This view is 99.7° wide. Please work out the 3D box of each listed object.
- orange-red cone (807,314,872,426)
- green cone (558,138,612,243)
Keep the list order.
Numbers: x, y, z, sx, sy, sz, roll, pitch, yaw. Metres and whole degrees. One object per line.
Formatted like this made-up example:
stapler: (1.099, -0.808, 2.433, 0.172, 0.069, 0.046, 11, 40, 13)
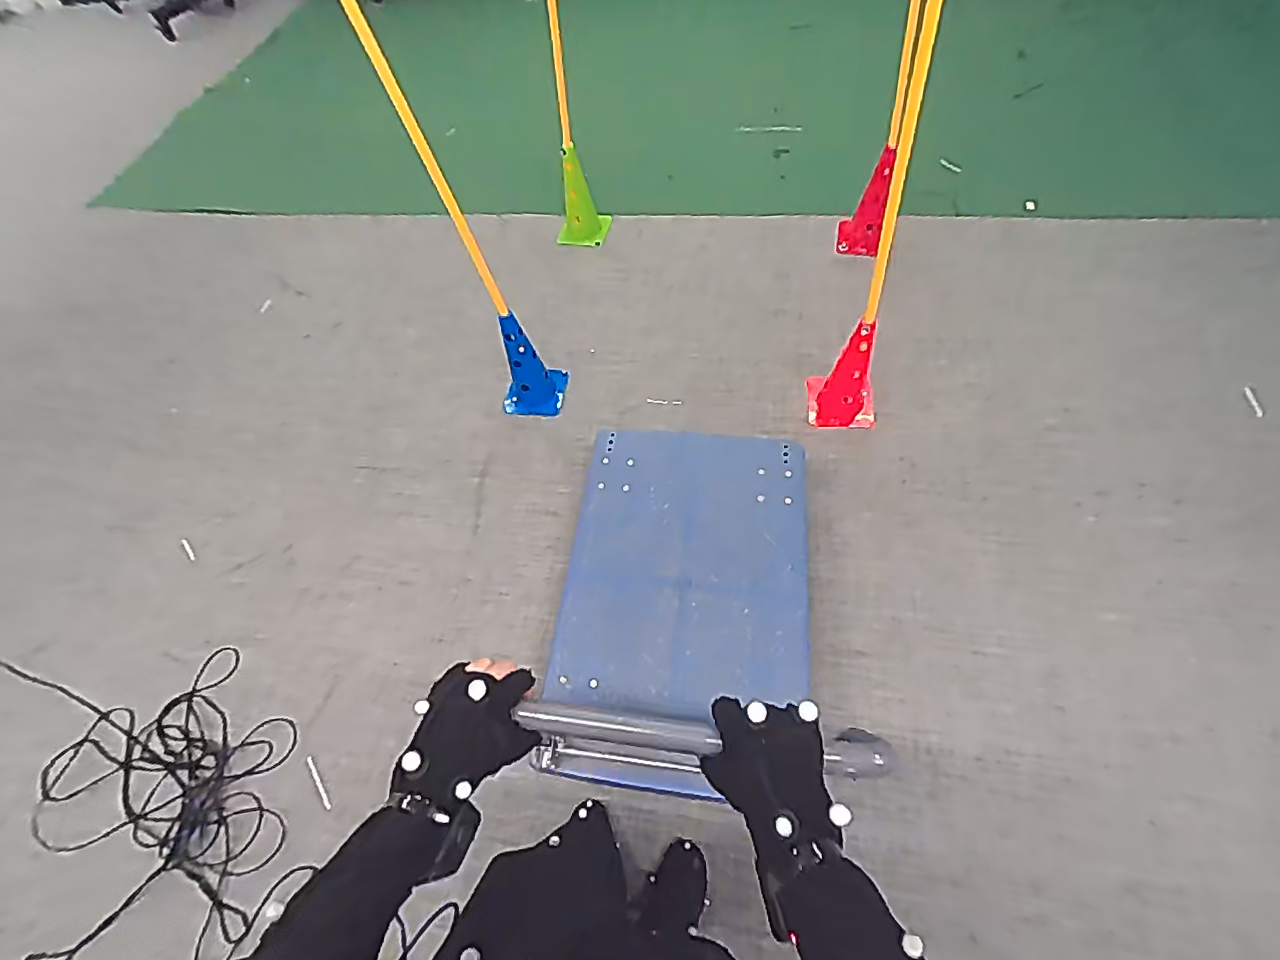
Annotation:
orange-red cone: (0.620, -0.341, 1.595, 0.199, 0.360, 0.198, 3, 60, 10)
green cone: (-0.251, -1.163, 2.149, 0.202, 0.368, 0.200, 8, 61, 11)
